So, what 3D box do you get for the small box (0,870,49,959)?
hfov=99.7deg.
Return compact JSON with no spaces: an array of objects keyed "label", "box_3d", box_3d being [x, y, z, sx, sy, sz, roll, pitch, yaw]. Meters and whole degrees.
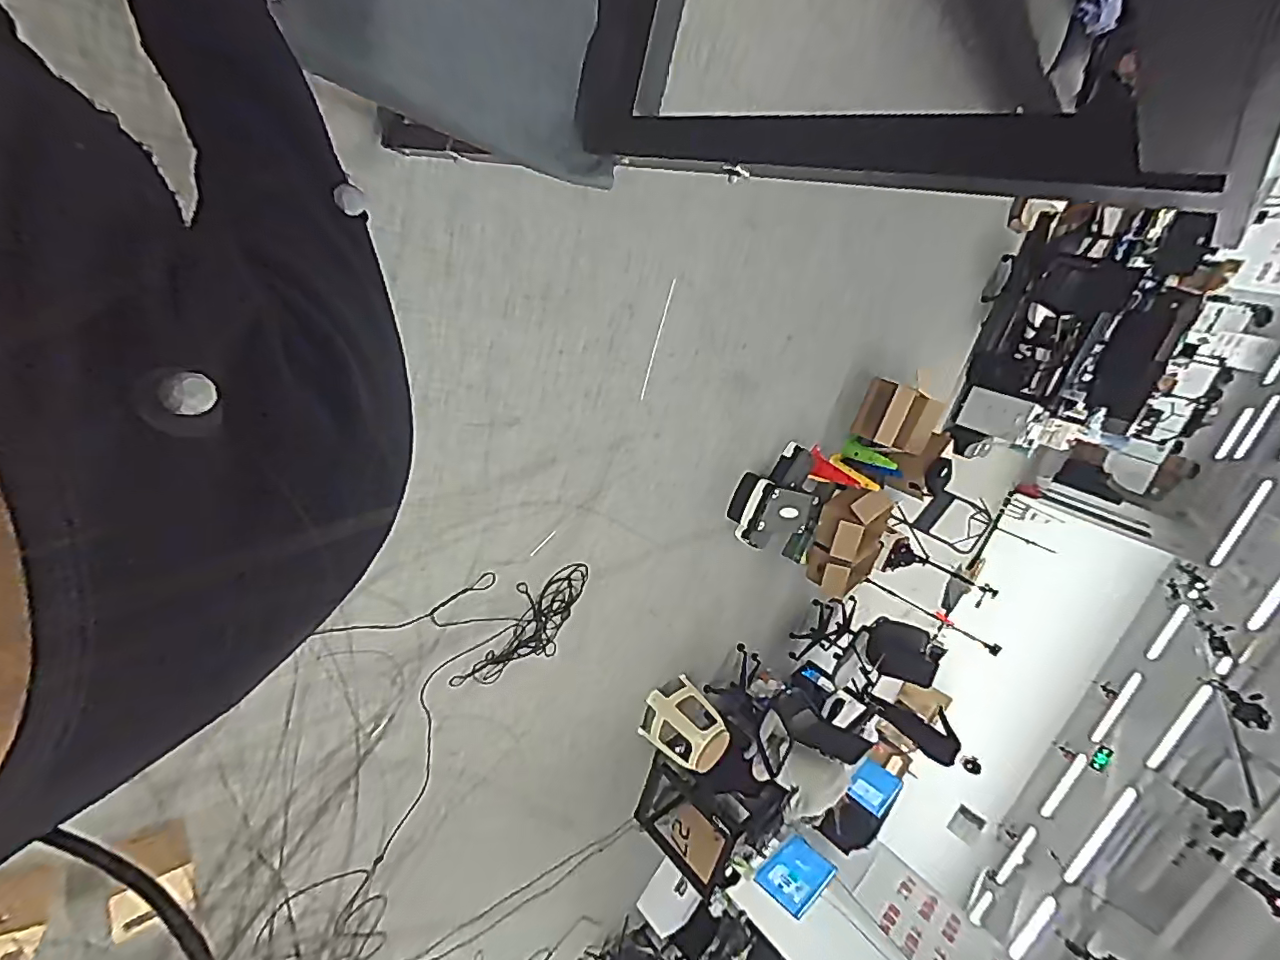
[{"label":"small box","box_3d":[-1.533,1.065,1.265,0.179,0.176,0.168,19,98,-50]}]
